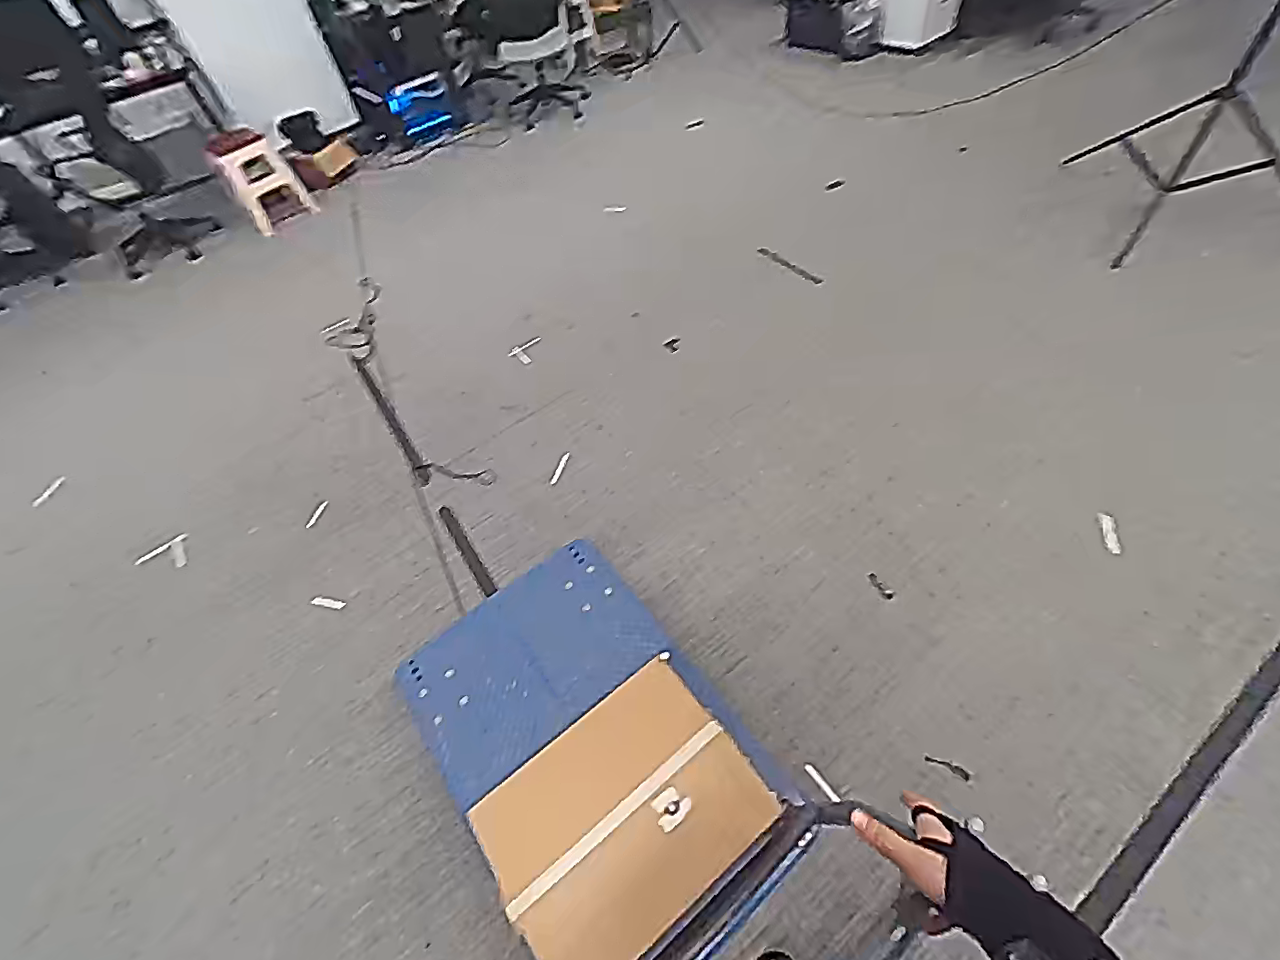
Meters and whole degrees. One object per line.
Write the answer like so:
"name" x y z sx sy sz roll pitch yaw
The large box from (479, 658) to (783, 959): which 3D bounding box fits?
"large box" -0.006 0.614 0.983 0.408 0.320 0.320 -35 60 -17
